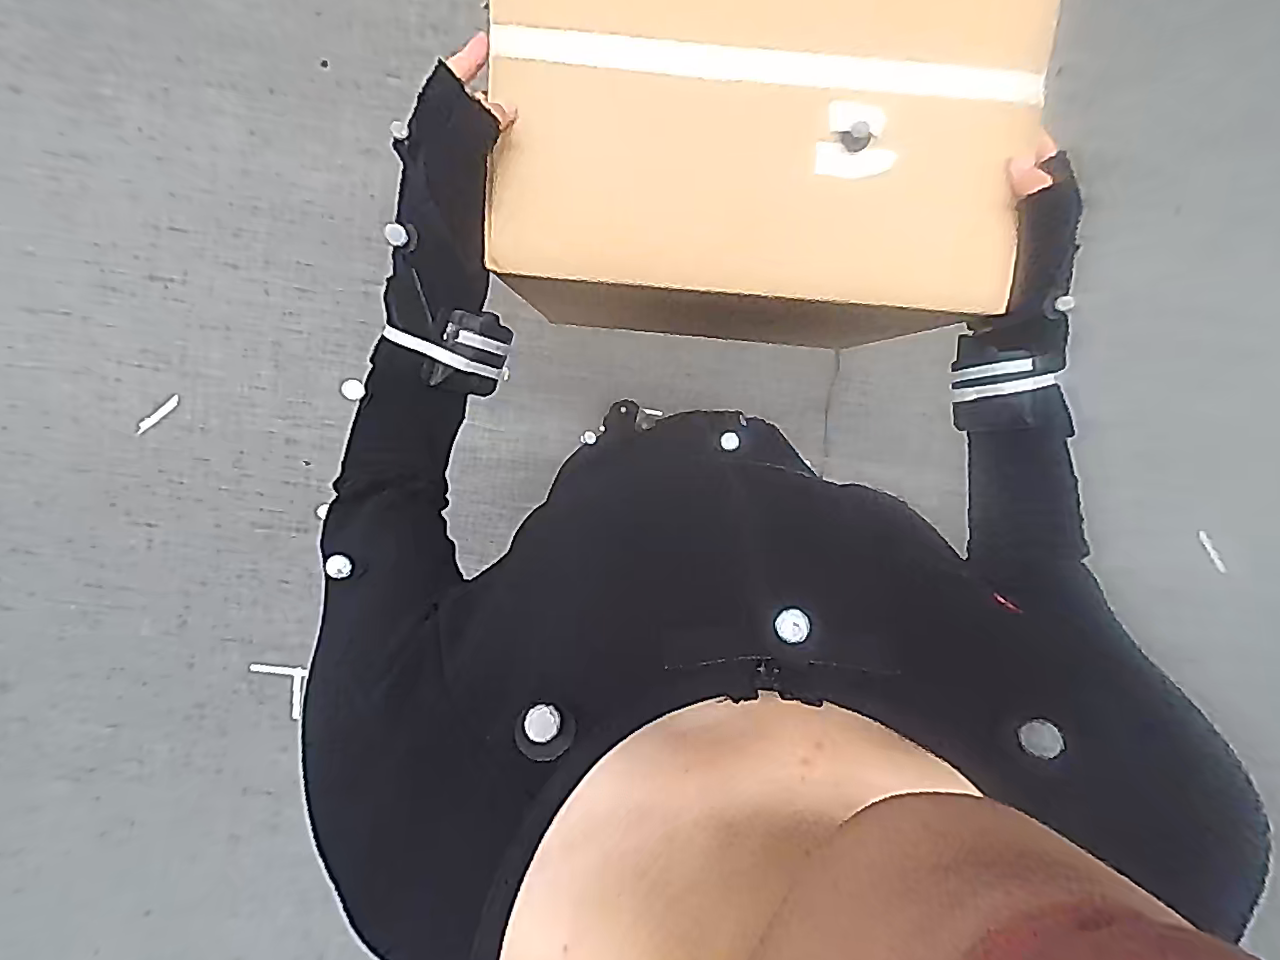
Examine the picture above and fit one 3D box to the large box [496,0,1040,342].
[{"bbox_3d":[0.089,-0.327,0.553,0.408,0.320,0.320,4,98,-2],"label":"large box"}]
